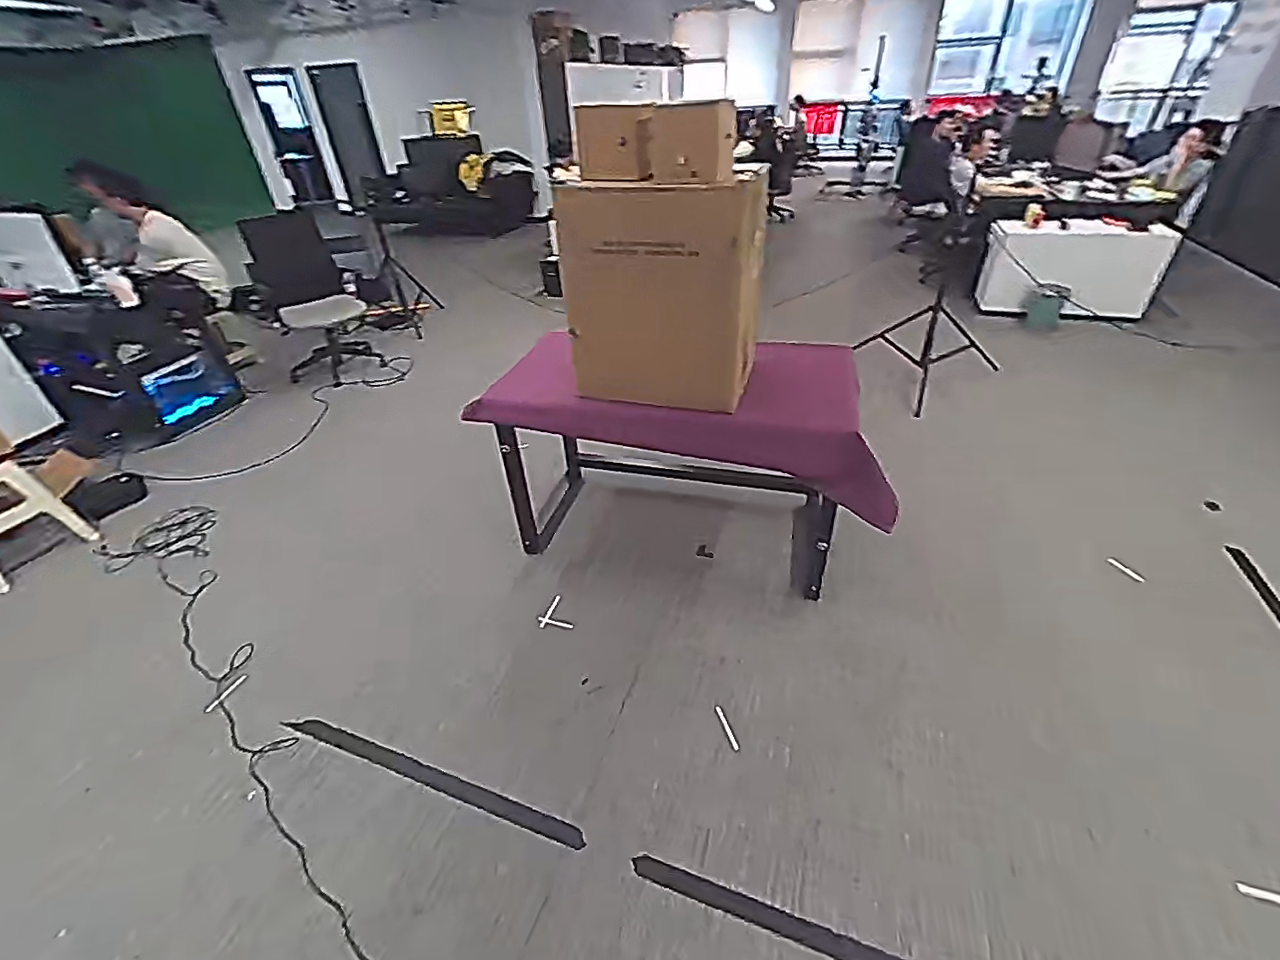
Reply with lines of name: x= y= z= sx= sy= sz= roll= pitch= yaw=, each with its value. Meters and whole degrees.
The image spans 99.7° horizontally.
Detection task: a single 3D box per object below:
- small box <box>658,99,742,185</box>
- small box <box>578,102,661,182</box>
small box: x=0.150 y=-0.845 z=1.351 sx=0.168 sy=0.176 sz=0.179 roll=10 pitch=38 yaw=19
small box: x=-0.047 y=-0.908 z=1.452 sx=0.179 sy=0.176 sz=0.168 roll=10 pitch=37 yaw=18
